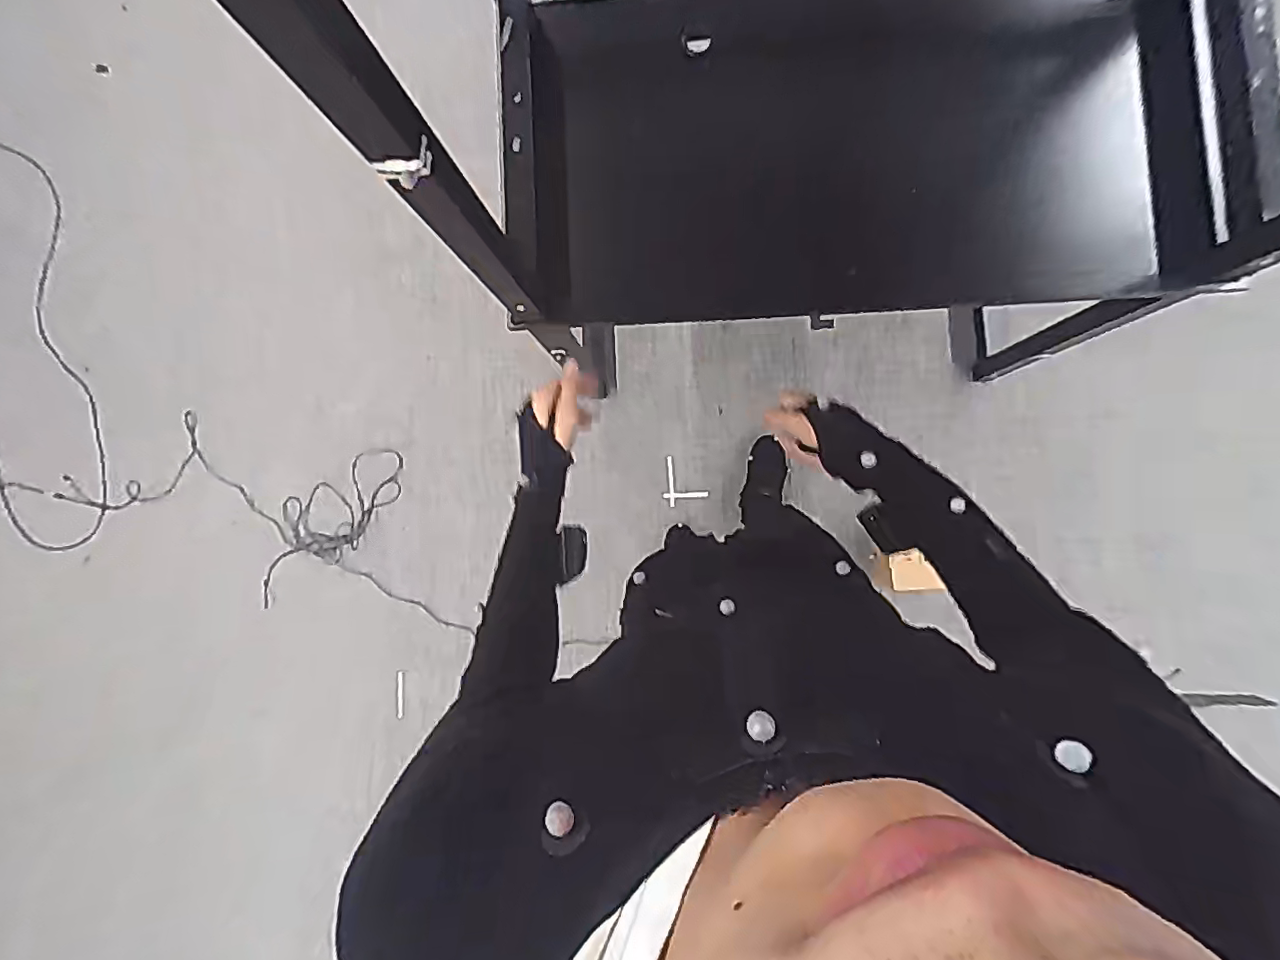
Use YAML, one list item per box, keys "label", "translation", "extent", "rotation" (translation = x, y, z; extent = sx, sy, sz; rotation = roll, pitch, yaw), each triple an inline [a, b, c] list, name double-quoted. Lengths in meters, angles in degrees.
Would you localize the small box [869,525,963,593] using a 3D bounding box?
- label: "small box"
  translation: [0.755, 0.214, 1.492]
  extent: [0.179, 0.176, 0.168]
  rotation: [-4, 86, 5]
